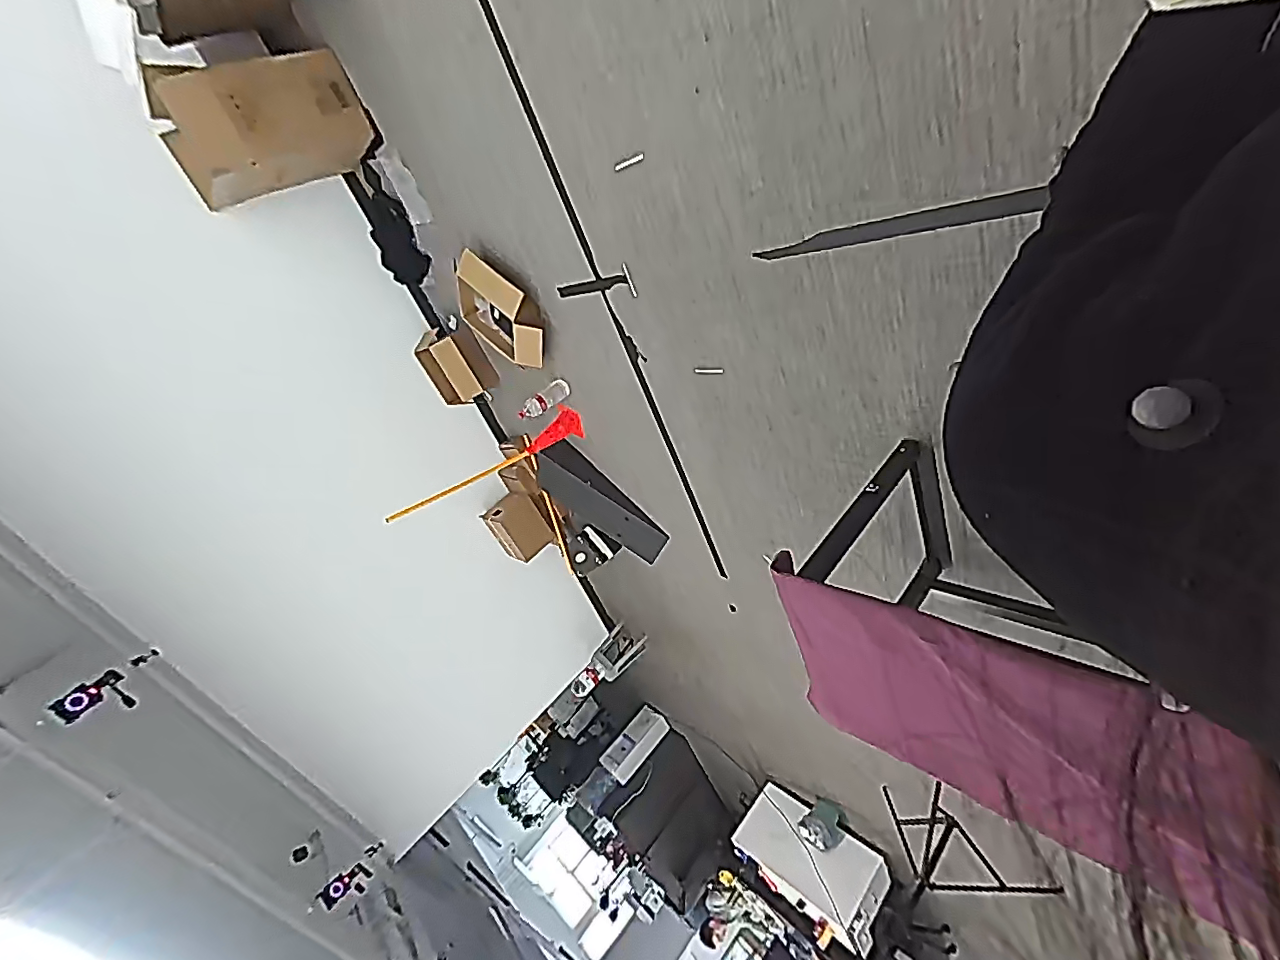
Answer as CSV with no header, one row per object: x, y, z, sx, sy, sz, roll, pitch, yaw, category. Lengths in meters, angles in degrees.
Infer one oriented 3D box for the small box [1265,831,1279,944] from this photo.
0.987,0.582,0.729,0.168,0.176,0.179,9,133,50,small box

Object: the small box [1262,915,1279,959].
0.881,0.678,0.652,0.179,0.176,0.168,7,133,50,small box
